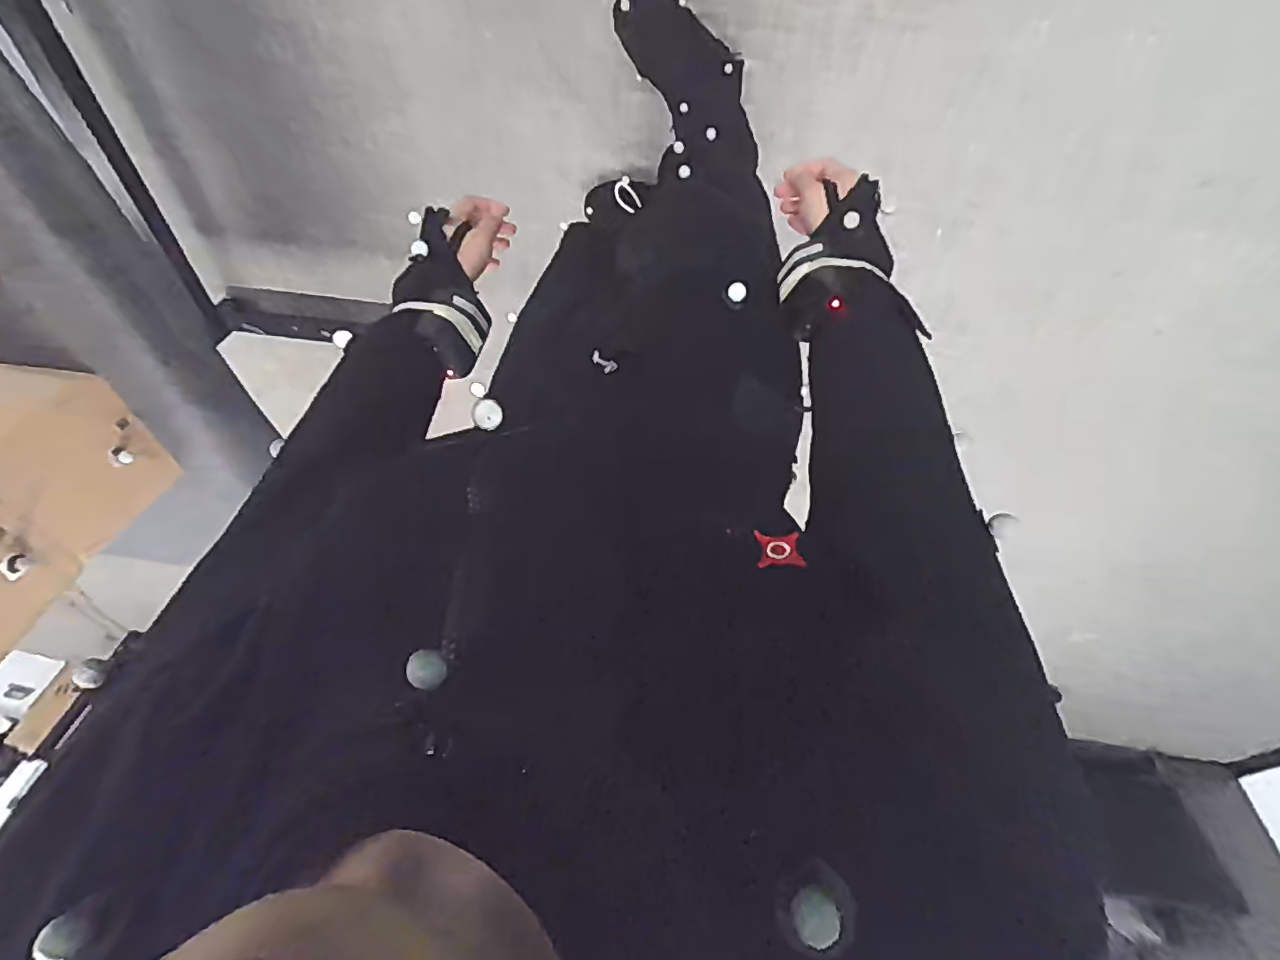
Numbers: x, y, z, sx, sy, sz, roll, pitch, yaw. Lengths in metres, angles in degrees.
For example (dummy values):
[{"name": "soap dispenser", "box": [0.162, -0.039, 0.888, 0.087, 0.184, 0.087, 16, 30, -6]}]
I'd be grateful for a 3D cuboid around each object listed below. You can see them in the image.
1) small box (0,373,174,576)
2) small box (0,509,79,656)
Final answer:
[{"name": "small box", "box": [-0.726, -0.010, 0.639, 0.179, 0.176, 0.168, 6, 138, 2]}, {"name": "small box", "box": [-0.744, 0.110, 0.531, 0.179, 0.176, 0.168, 5, 139, 2]}]
